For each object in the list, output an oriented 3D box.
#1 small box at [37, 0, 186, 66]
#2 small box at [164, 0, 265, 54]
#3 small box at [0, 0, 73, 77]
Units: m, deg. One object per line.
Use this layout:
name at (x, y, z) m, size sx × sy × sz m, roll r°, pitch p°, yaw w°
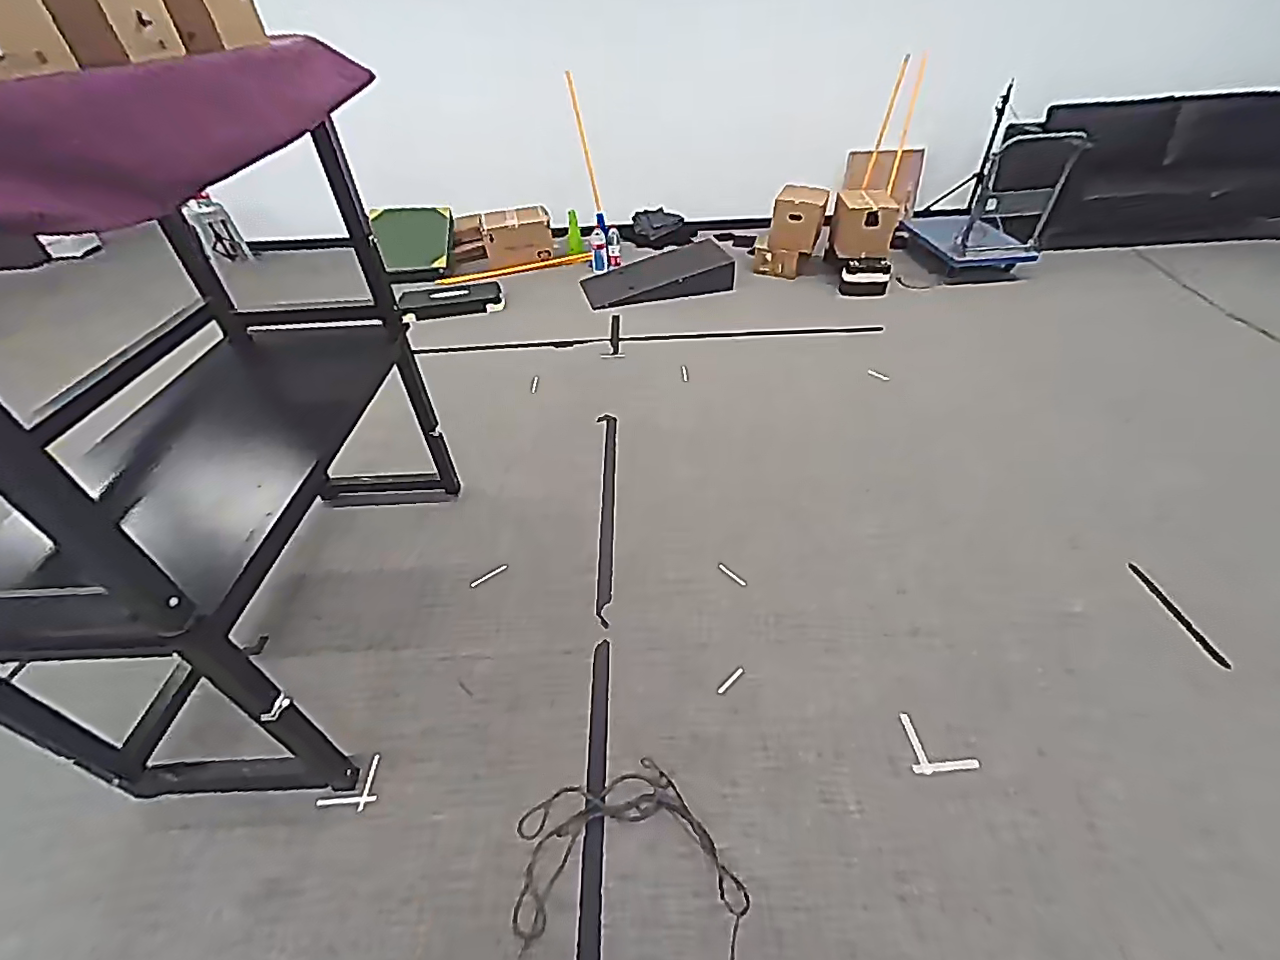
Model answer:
small box at (-0.926, -0.797, 0.895) m, size 0.179 × 0.176 × 0.168 m, roll -3°, pitch 42°, yaw 0°
small box at (-0.914, -0.985, 1.105) m, size 0.168 × 0.176 × 0.179 m, roll -1°, pitch 43°, yaw 3°
small box at (-0.927, -0.624, 0.701) m, size 0.179 × 0.176 × 0.168 m, roll -4°, pitch 42°, yaw 0°
